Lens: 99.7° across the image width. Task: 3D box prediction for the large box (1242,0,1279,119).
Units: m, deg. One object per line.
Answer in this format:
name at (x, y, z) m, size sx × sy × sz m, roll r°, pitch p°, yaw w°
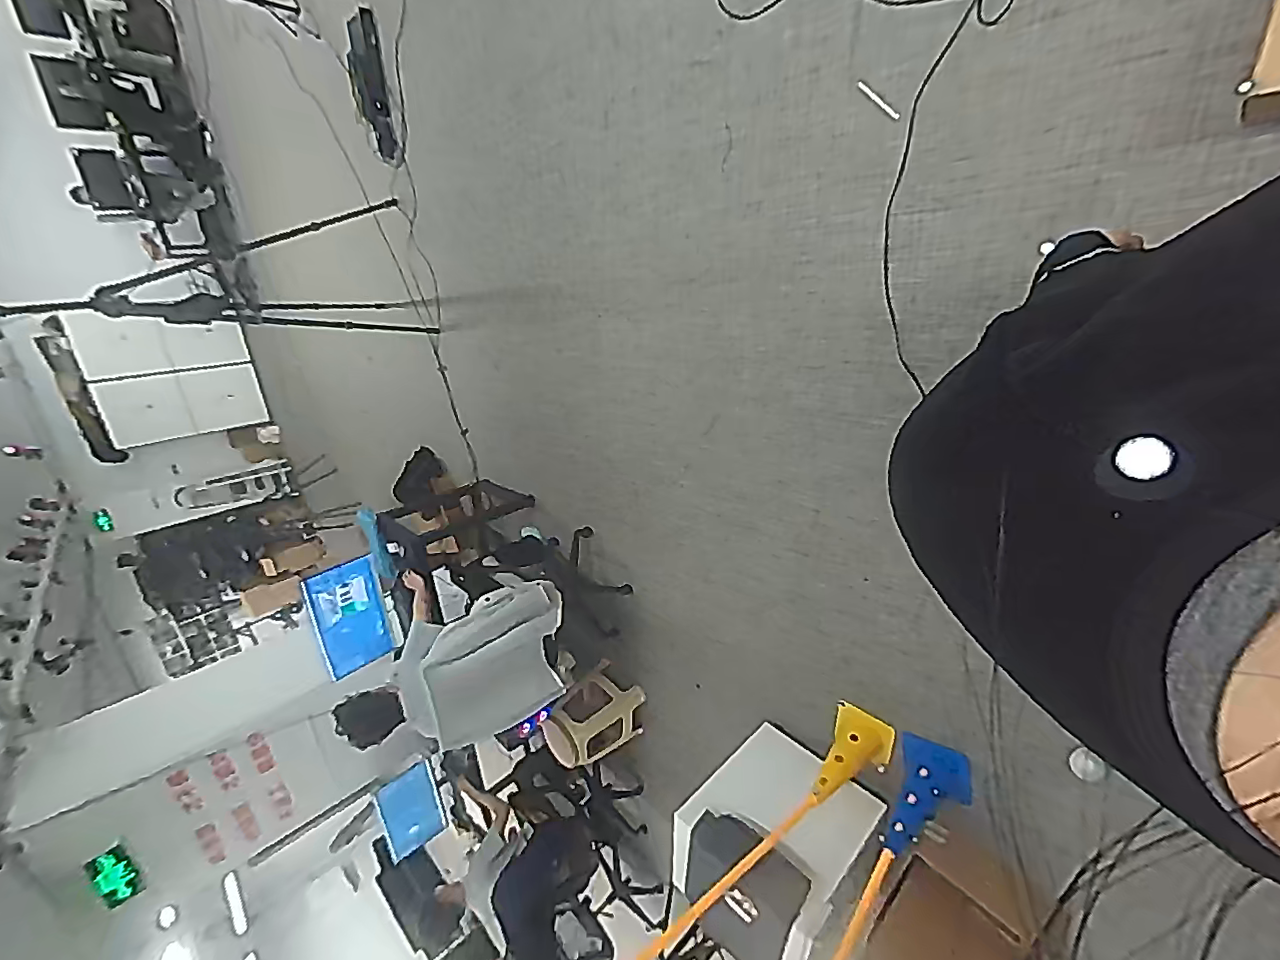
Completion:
large box at (1.081, -0.682, 0.663) m, size 0.408 × 0.320 × 0.320 m, roll 18°, pitch 119°, yaw 43°
